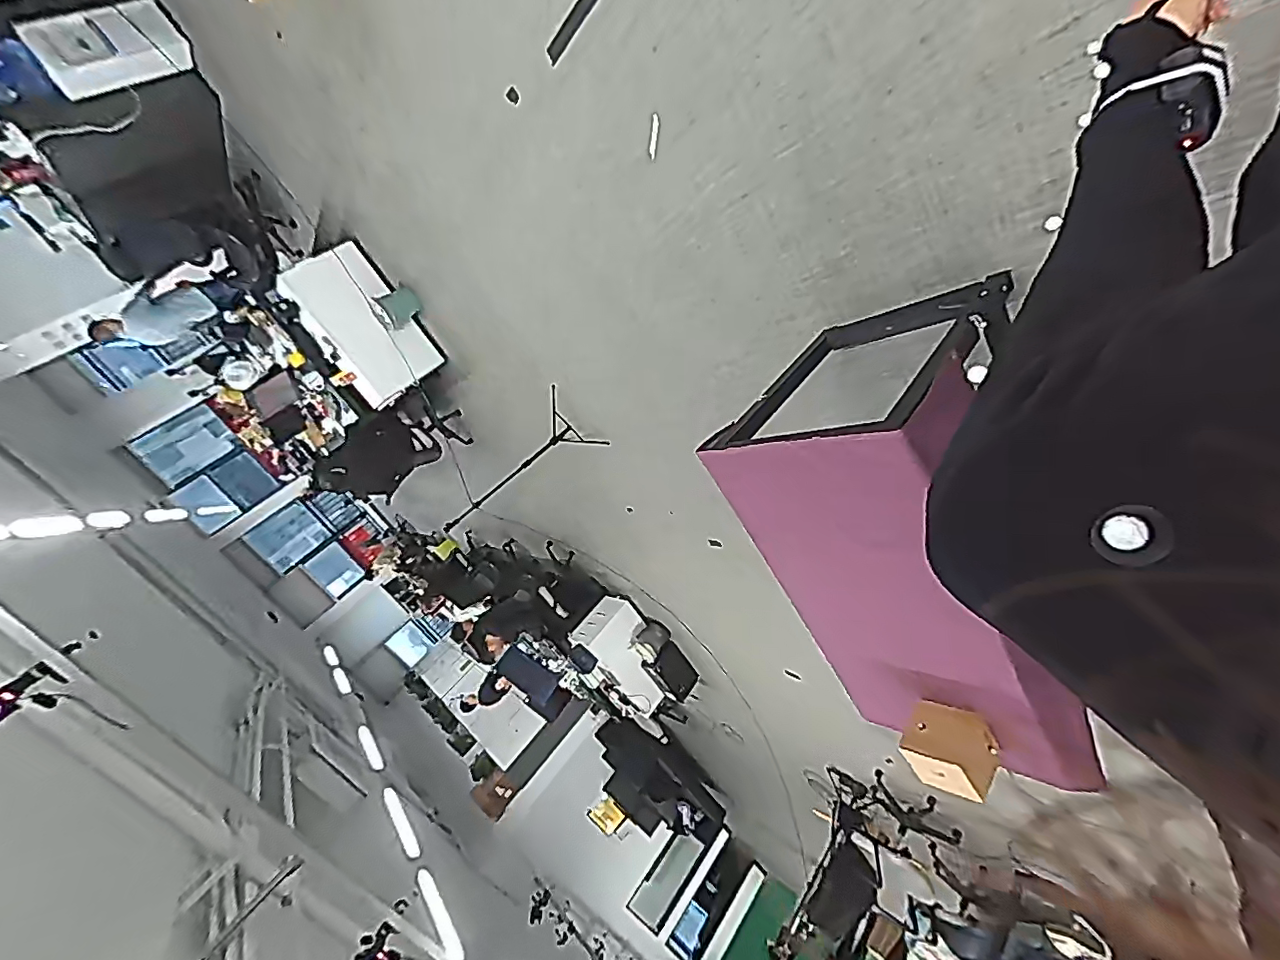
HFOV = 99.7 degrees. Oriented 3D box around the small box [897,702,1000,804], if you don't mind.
[{"bbox_3d":[0.873,0.759,1.527,0.168,0.176,0.179,54,151,-17],"label":"small box"}]
